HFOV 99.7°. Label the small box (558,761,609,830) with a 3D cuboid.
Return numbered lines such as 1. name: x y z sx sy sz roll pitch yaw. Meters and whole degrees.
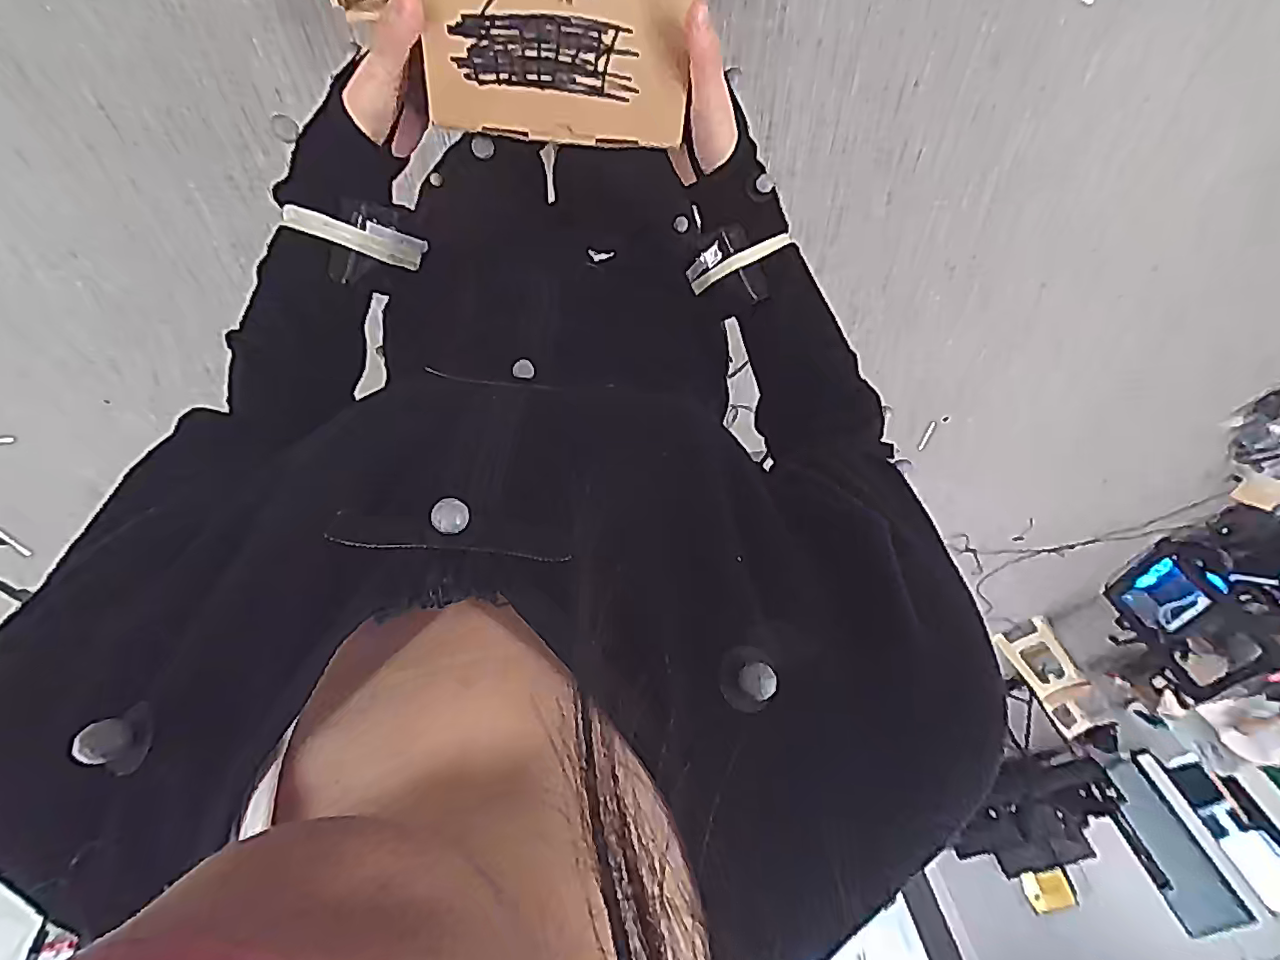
1. small box: -0.204 1.131 1.940 0.168 0.176 0.179 -6 138 -9
